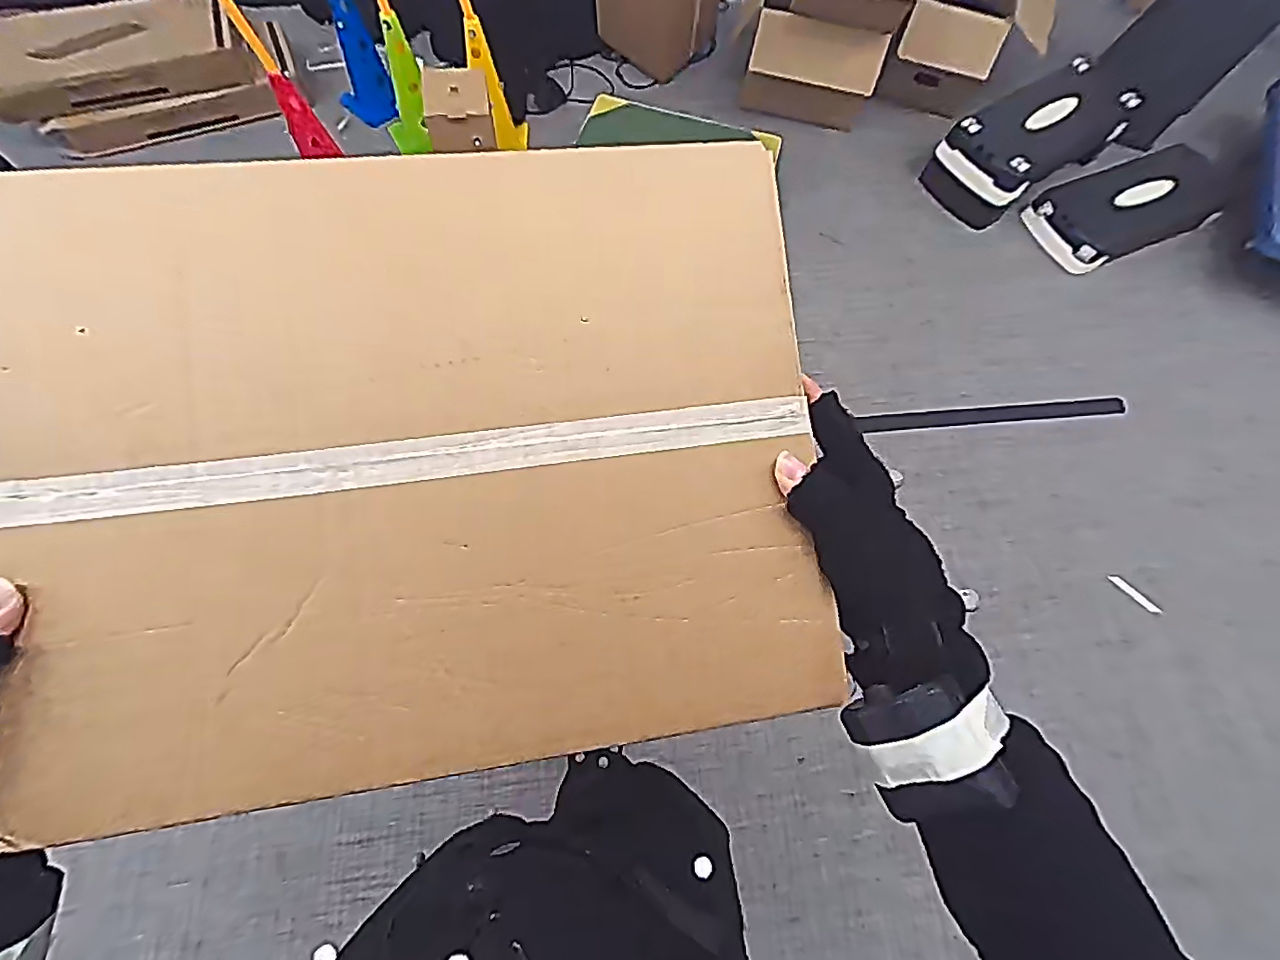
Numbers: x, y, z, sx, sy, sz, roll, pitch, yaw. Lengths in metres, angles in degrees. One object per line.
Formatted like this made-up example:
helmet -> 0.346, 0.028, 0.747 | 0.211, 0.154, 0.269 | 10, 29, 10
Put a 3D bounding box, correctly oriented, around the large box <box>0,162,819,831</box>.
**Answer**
large box -> -0.128, -0.003, 0.431 | 0.408, 0.320, 0.320 | -6, 87, -7
